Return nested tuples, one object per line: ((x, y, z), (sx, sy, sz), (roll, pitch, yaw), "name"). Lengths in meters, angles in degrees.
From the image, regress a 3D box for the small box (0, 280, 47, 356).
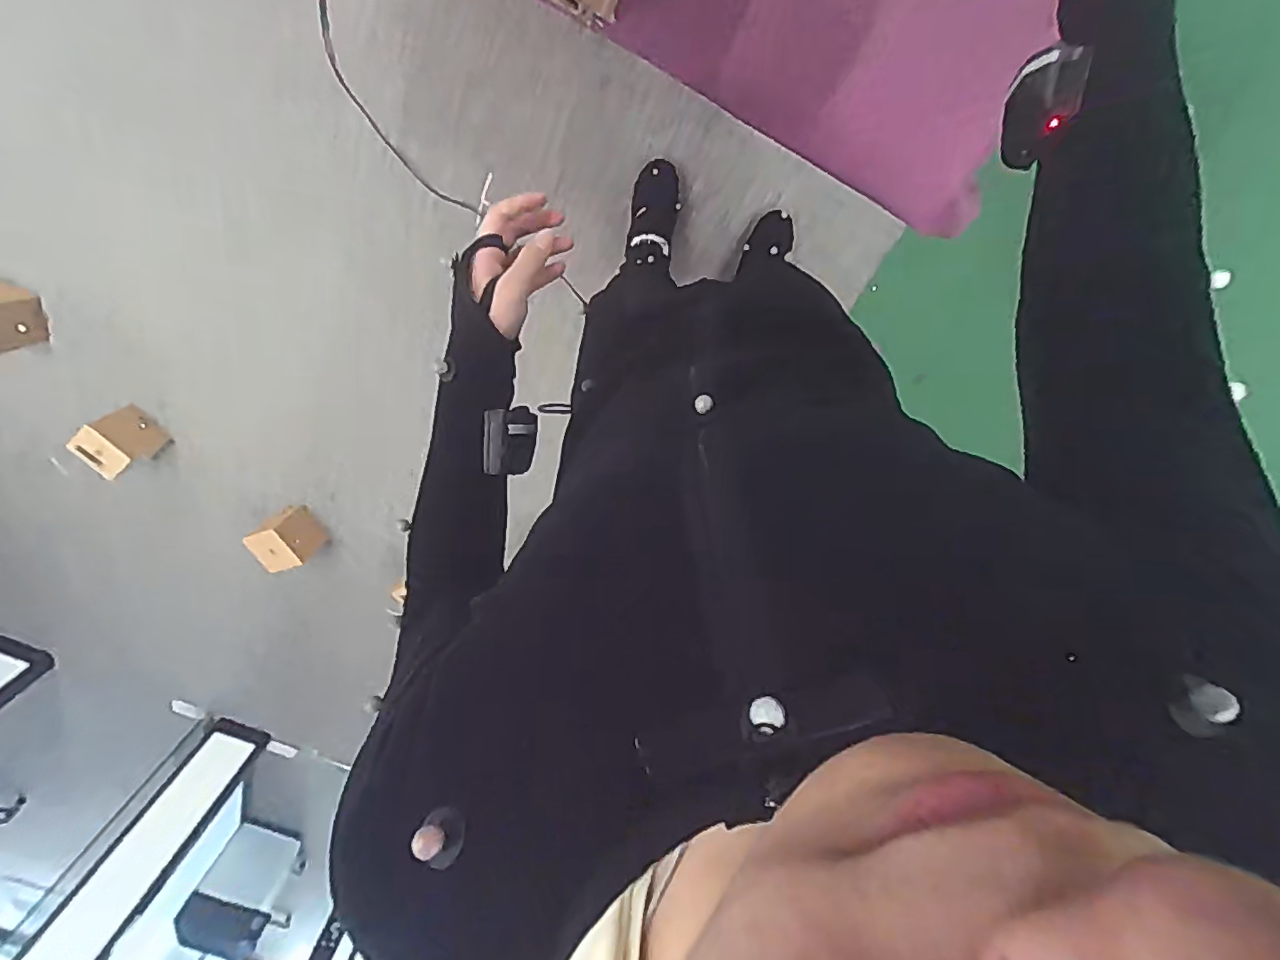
((-2.045, -0.521, 1.706), (0.179, 0.176, 0.168), (23, 122, -5), "small box")
